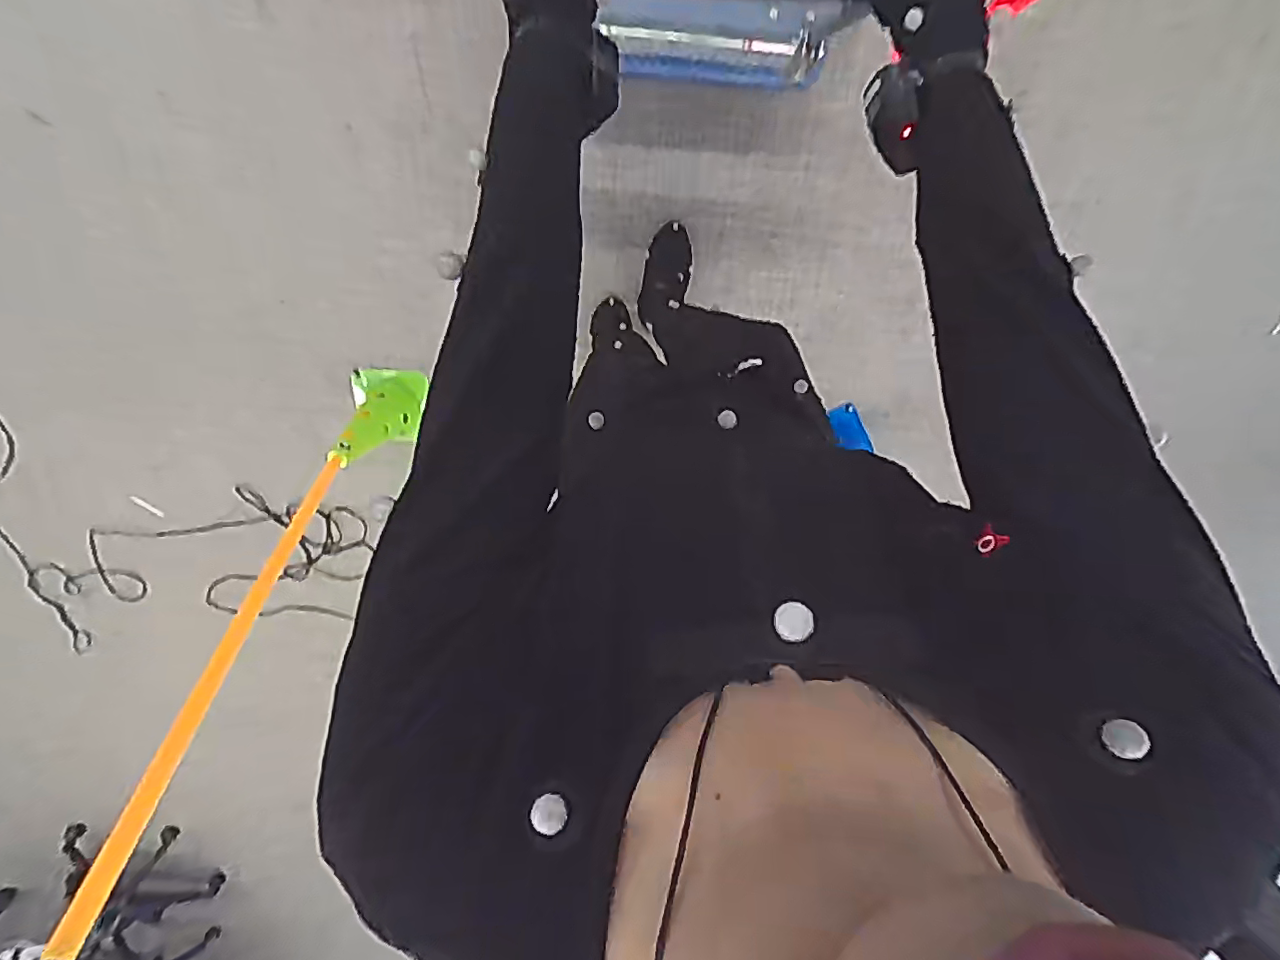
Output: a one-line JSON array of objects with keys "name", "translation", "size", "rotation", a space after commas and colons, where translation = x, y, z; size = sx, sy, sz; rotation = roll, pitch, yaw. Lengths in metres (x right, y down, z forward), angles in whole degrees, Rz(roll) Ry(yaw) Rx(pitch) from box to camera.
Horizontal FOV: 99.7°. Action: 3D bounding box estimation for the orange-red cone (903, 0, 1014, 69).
[{"name": "orange-red cone", "translation": [0.673, -0.913, 0.967], "size": [0.198, 0.360, 0.199], "rotation": [13, 117, -9]}]
